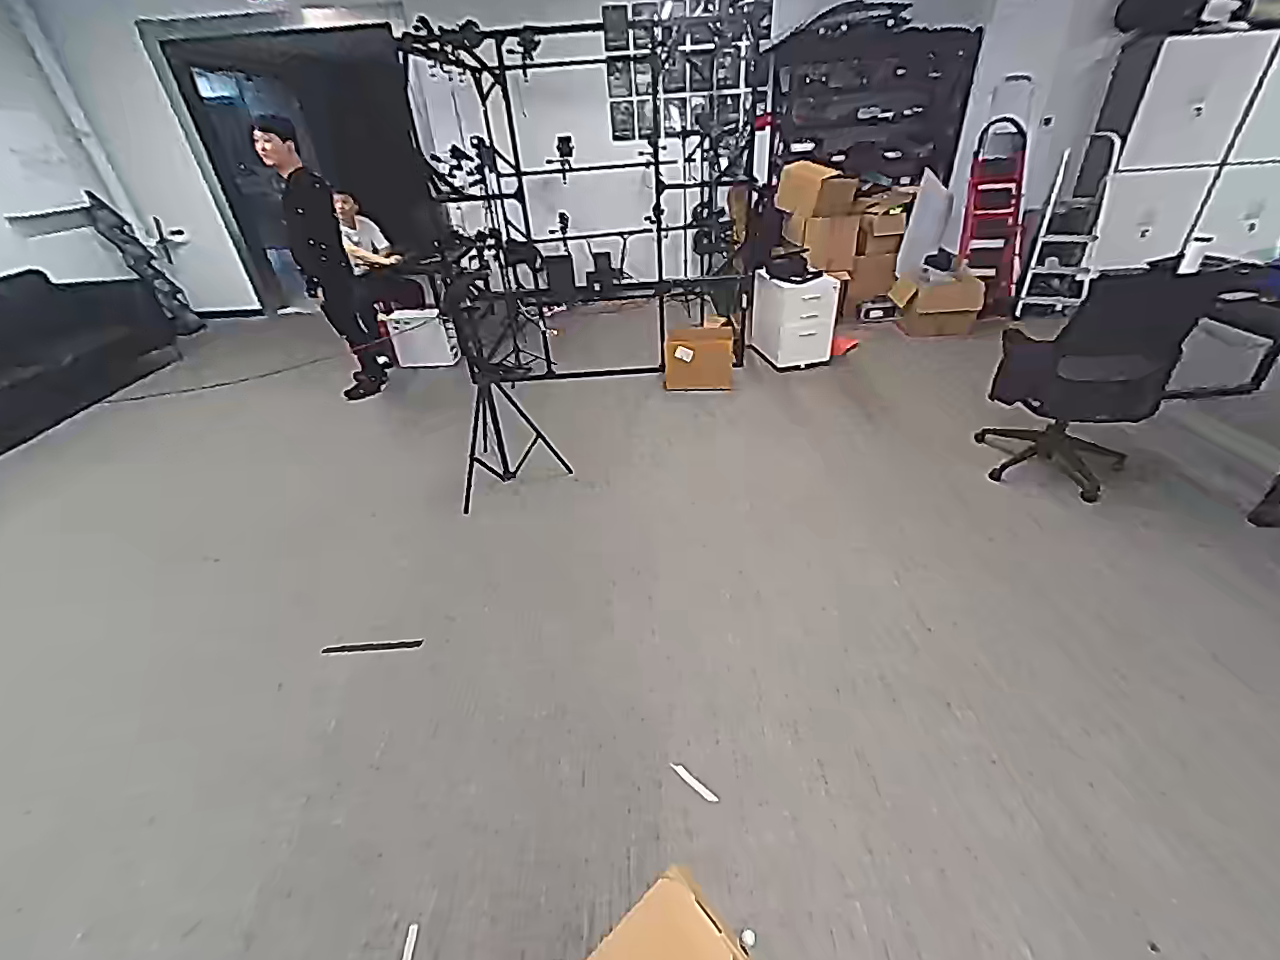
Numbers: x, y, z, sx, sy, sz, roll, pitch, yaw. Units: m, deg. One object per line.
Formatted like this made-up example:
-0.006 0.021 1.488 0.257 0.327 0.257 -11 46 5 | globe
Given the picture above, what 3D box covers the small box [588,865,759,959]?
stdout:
0.030 0.471 0.457 0.179 0.176 0.168 -38 58 -19 | small box
